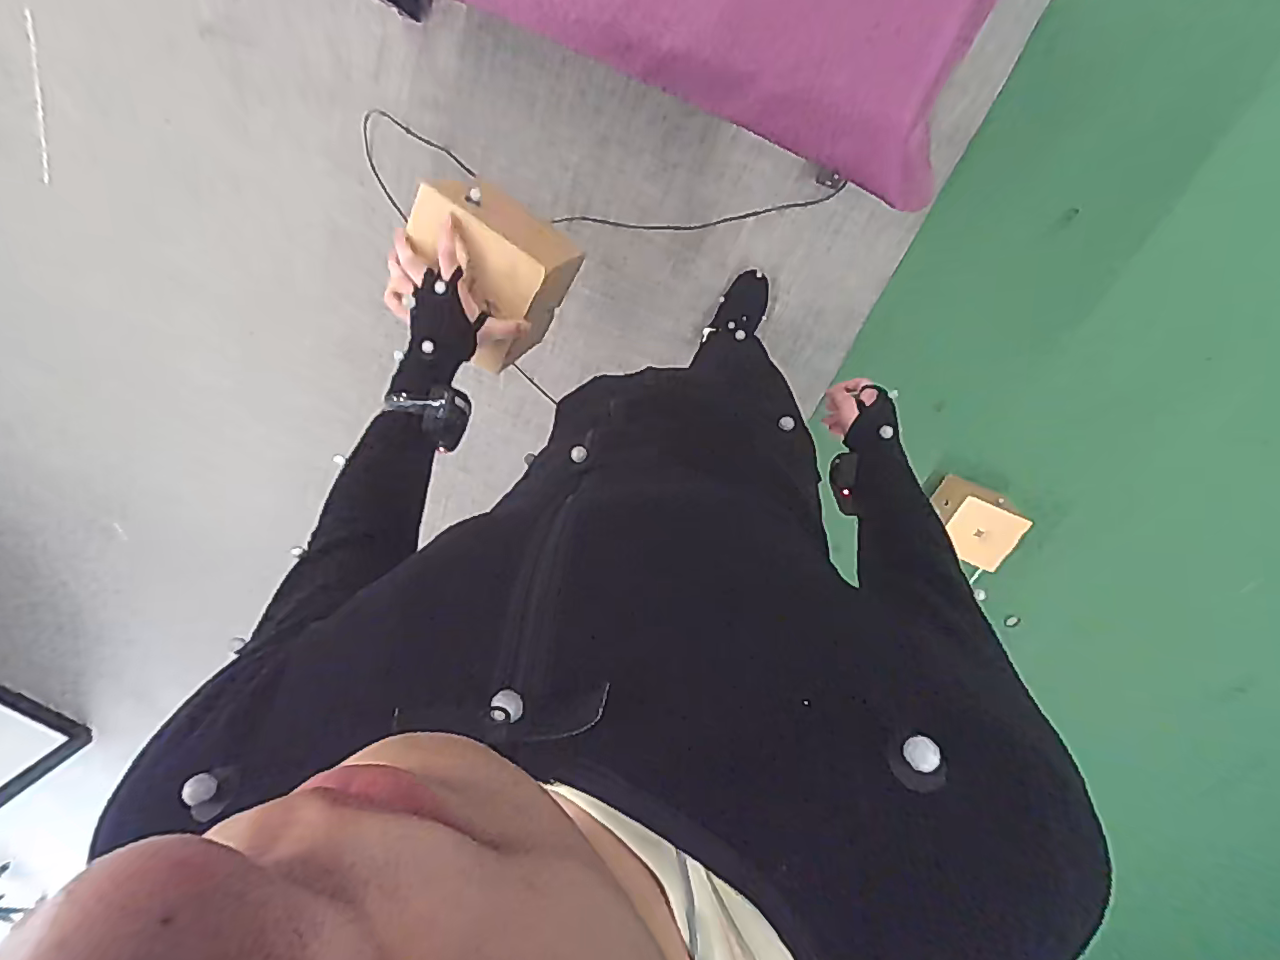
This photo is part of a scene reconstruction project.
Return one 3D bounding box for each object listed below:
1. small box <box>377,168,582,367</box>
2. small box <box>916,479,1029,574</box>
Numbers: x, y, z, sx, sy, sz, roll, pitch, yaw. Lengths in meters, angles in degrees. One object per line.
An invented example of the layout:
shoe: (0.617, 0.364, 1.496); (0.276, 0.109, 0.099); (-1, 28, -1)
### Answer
small box: (-0.207, -0.287, 0.726); (0.179, 0.176, 0.168); (35, 122, -8)
small box: (0.879, 0.116, 1.454); (0.179, 0.176, 0.168); (24, 115, 2)
